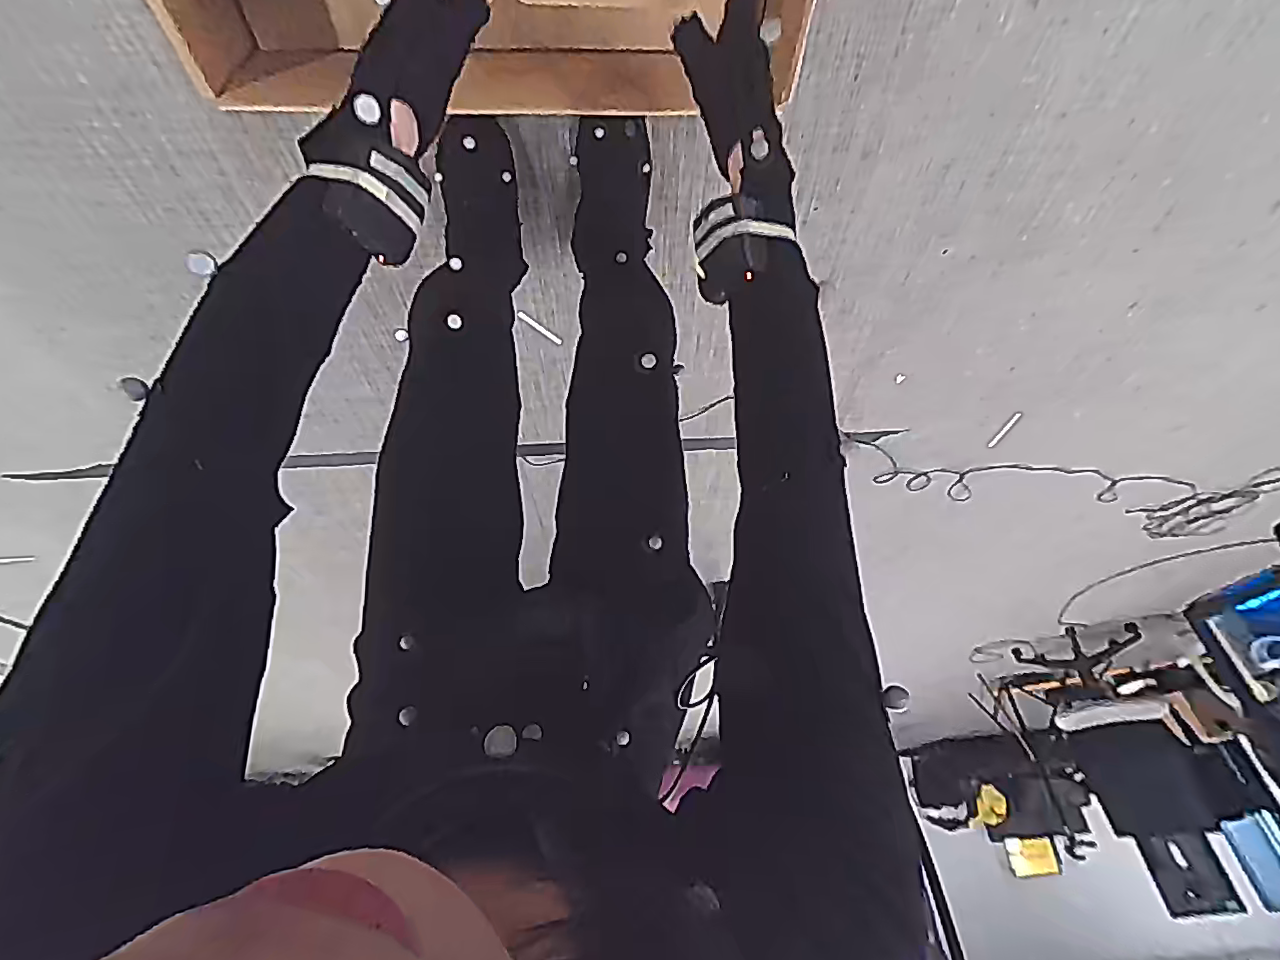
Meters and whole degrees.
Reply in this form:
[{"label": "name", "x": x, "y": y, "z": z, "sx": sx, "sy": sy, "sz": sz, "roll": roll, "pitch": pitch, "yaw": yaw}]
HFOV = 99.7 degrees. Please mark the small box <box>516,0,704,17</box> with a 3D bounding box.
[{"label": "small box", "x": -0.026, "y": -0.544, "z": 0.477, "sx": 0.179, "sy": 0.176, "sz": 0.168, "roll": 0, "pitch": 146, "yaw": -3}]
